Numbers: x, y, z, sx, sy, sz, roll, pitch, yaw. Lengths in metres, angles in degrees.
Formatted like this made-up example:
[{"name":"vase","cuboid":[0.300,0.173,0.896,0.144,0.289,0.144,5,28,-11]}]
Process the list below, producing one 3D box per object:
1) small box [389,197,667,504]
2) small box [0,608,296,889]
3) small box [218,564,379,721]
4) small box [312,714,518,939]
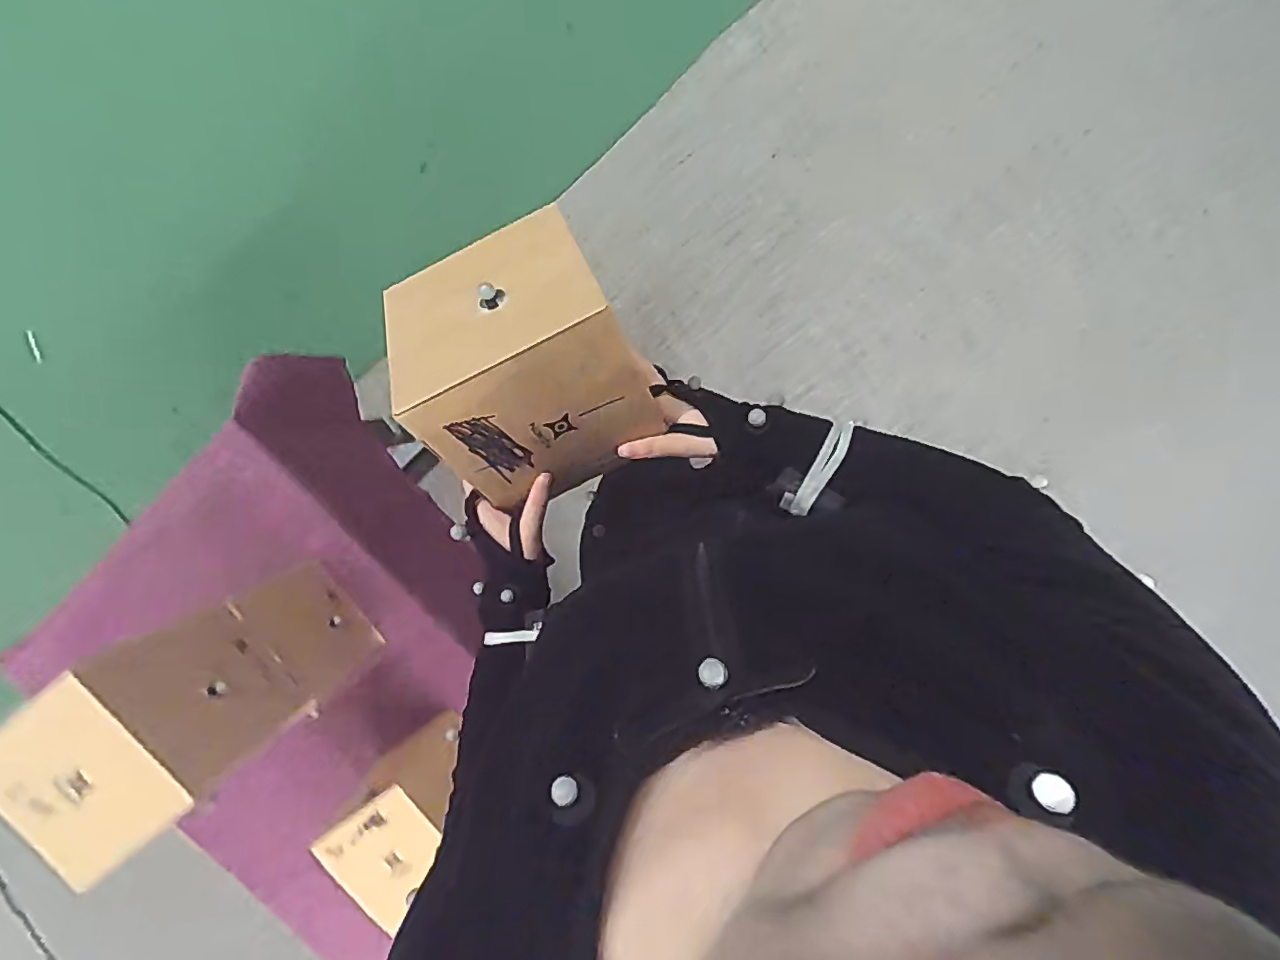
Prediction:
[{"name":"small box","cuboid":[-0.100,-0.114,0.488,0.179,0.168,0.176,-26,54,3]},{"name":"small box","cuboid":[-0.518,0.270,0.583,0.179,0.176,0.168,-38,94,9]},{"name":"small box","cuboid":[-0.507,0.245,0.746,0.179,0.176,0.168,-37,95,8]},{"name":"small box","cuboid":[-0.302,0.478,0.769,0.168,0.176,0.179,-38,96,9]}]
